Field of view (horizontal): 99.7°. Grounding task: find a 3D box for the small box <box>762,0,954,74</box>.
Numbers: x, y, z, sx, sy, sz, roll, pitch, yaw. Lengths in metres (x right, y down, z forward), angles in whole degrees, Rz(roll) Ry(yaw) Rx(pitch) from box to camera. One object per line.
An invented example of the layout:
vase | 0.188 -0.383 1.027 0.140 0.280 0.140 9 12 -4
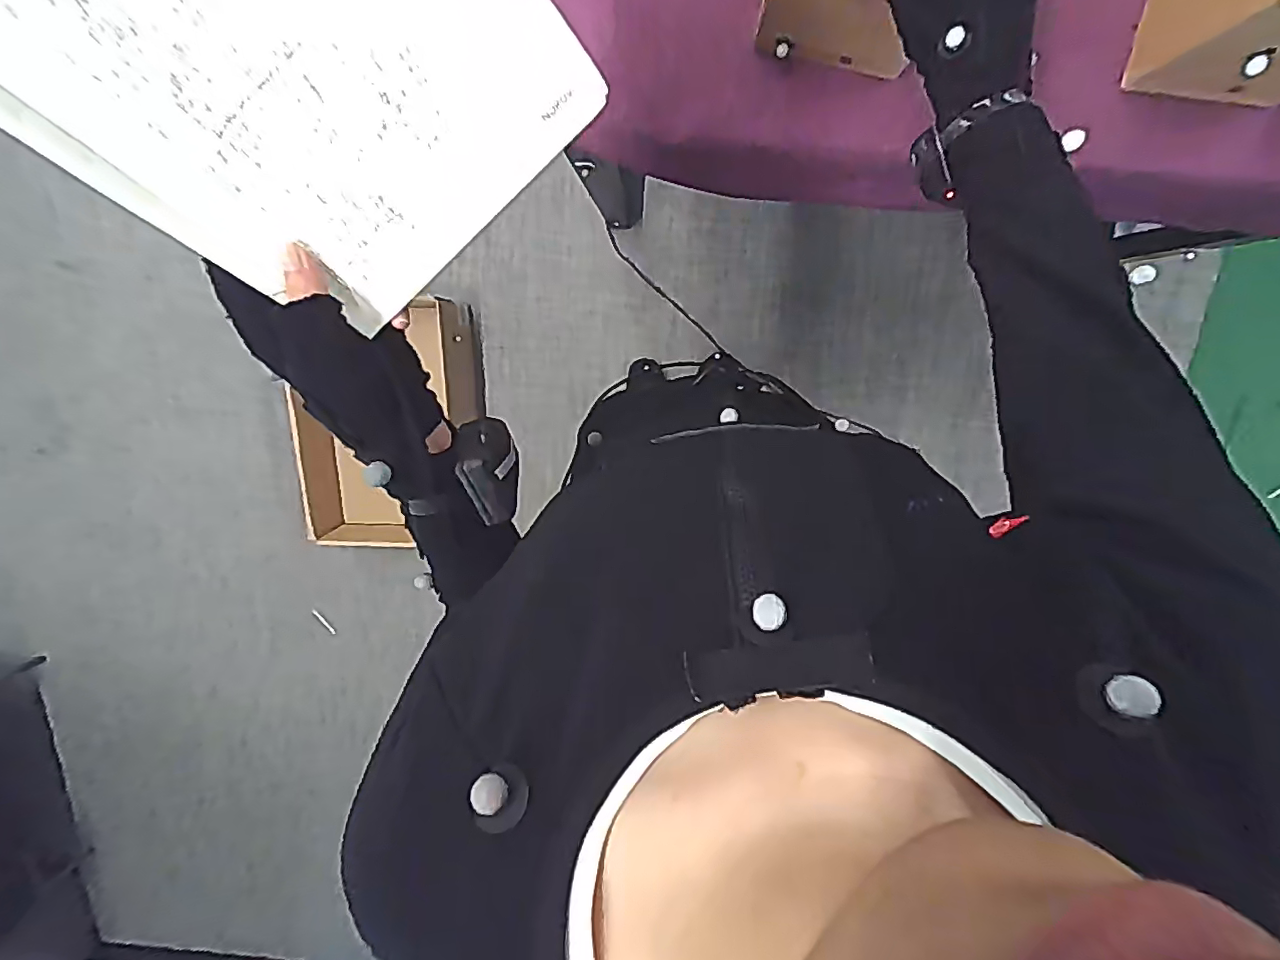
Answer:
small box | 0.220 -0.521 0.499 0.168 0.176 0.179 13 105 0

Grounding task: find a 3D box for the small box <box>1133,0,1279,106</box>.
small box | 0.614 -0.473 0.489 0.168 0.176 0.179 9 106 2
